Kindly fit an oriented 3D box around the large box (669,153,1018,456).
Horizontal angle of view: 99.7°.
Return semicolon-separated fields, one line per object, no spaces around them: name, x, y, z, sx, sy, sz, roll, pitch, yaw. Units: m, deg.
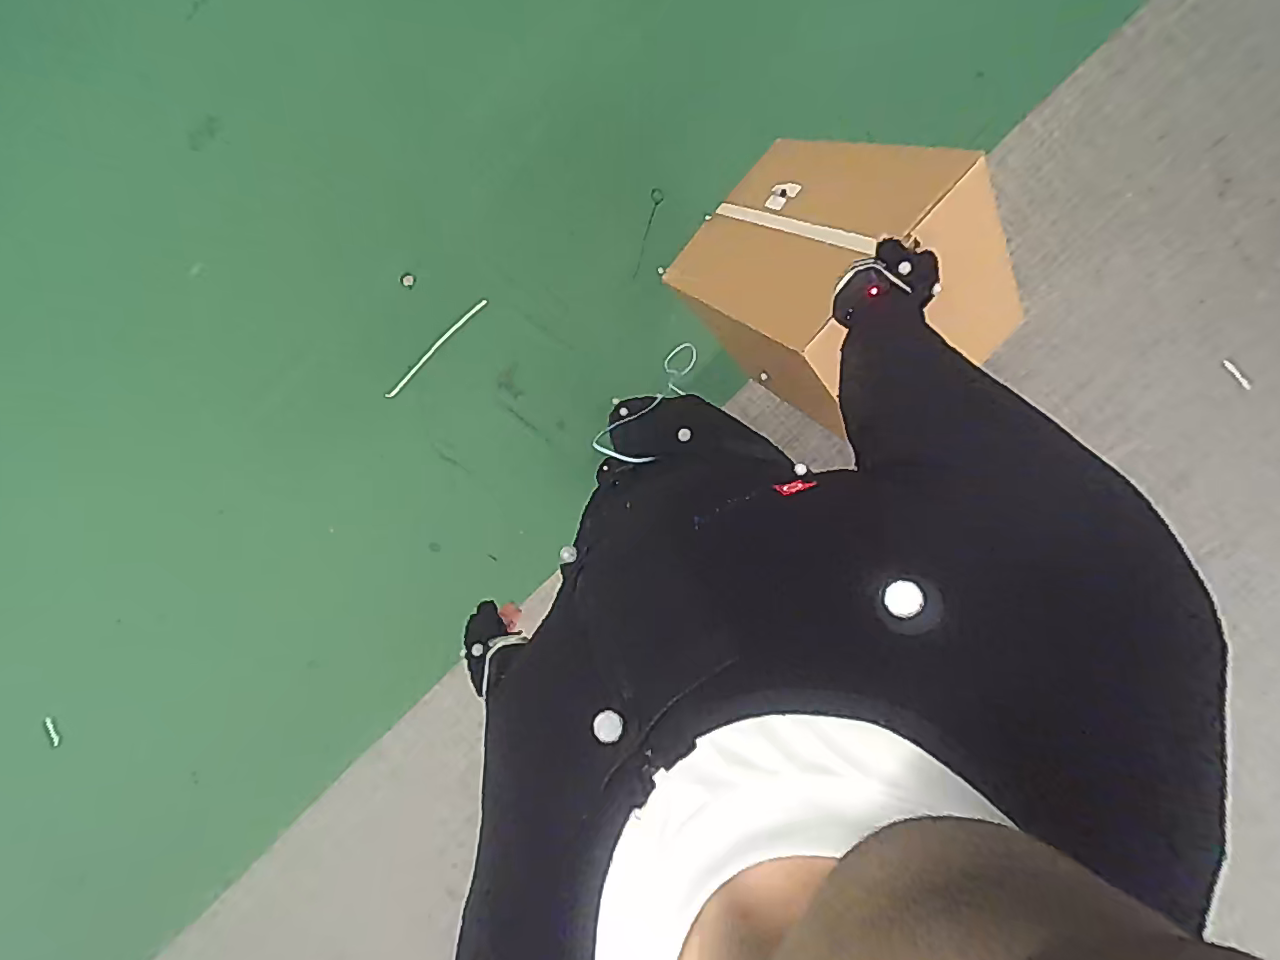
large box;0.328;-0.306;0.926;0.320;0.408;0.320;-47;130;7
